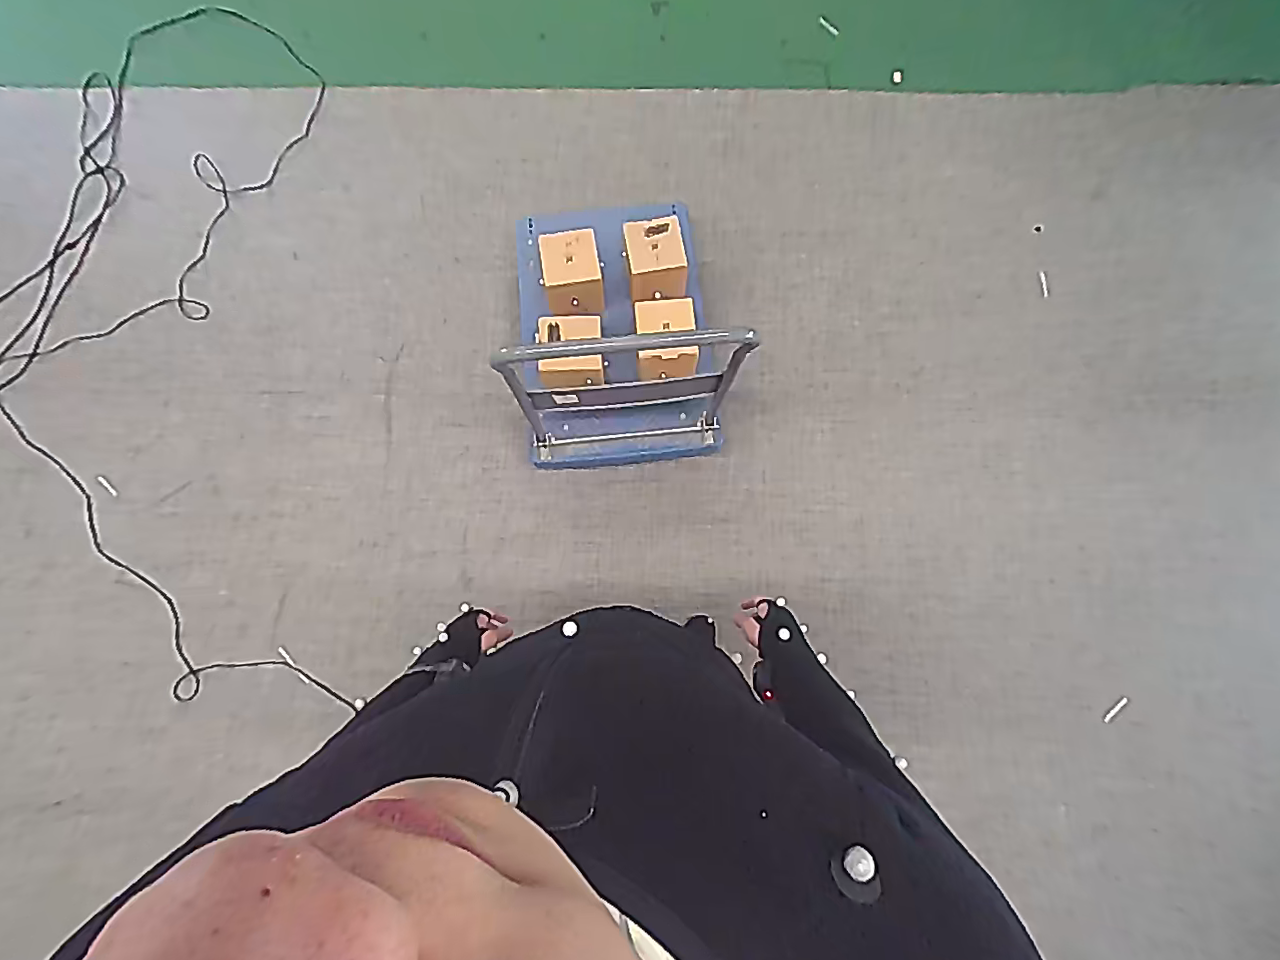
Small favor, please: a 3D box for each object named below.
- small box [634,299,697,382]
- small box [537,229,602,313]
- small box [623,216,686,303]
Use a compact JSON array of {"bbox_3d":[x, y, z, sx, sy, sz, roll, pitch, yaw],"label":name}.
[{"bbox_3d":[0.069,-0.403,1.581,0.168,0.176,0.179,-5,76,-2],"label":"small box"},{"bbox_3d":[-0.208,-0.621,1.633,0.168,0.176,0.179,-9,76,-3],"label":"small box"},{"bbox_3d":[0.040,-0.664,1.645,0.168,0.176,0.179,-9,77,-2],"label":"small box"}]
